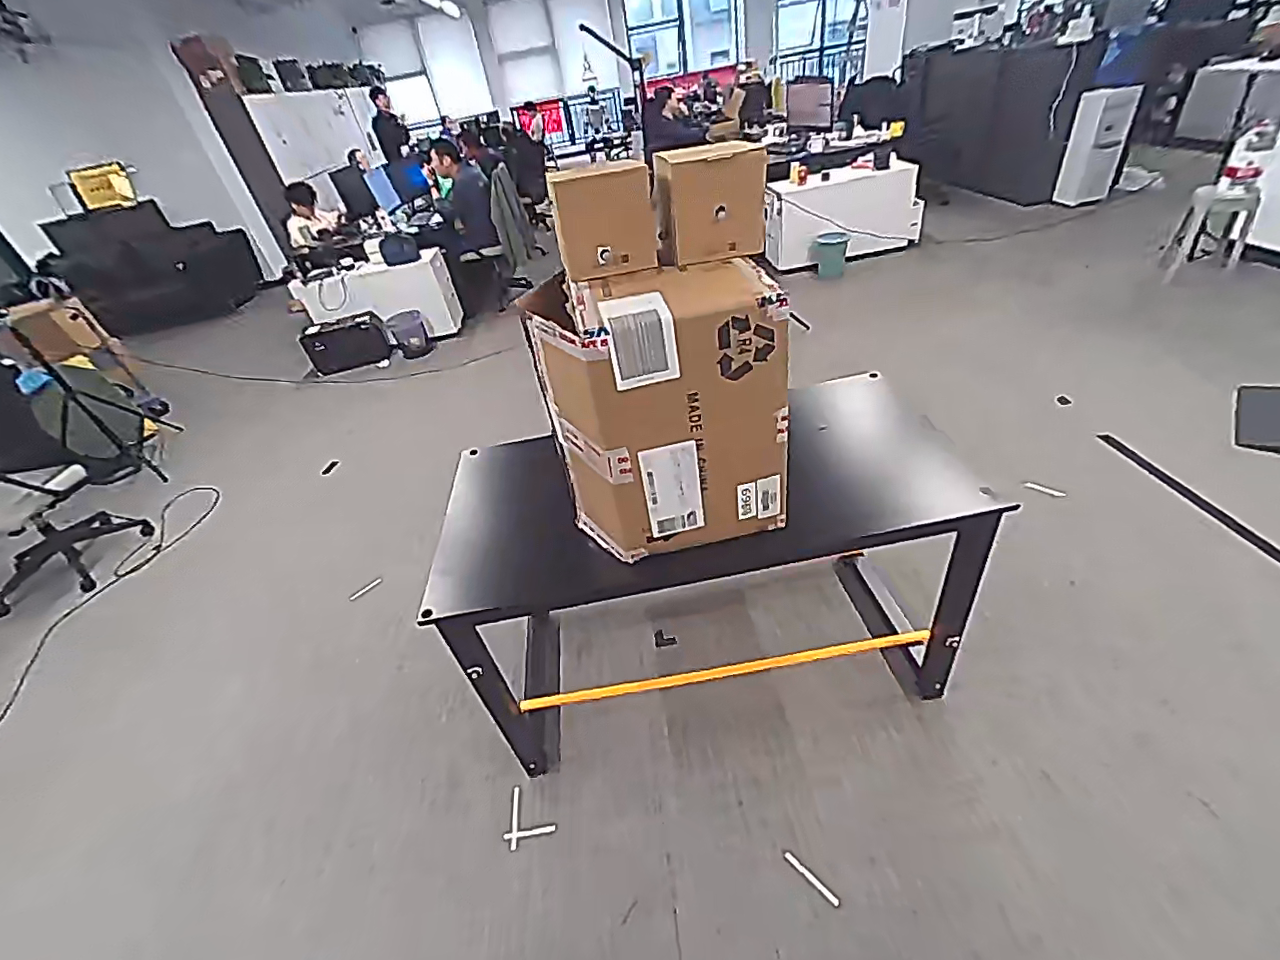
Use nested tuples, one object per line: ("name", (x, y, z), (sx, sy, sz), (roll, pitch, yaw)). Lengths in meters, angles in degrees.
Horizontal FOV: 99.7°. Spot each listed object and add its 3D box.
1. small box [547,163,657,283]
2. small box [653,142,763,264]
("small box", (-0.072, -0.484, 1.017), (0.168, 0.176, 0.179), (-14, 36, -6))
("small box", (0.125, -0.516, 1.013), (0.168, 0.176, 0.179), (-10, 37, -4))
